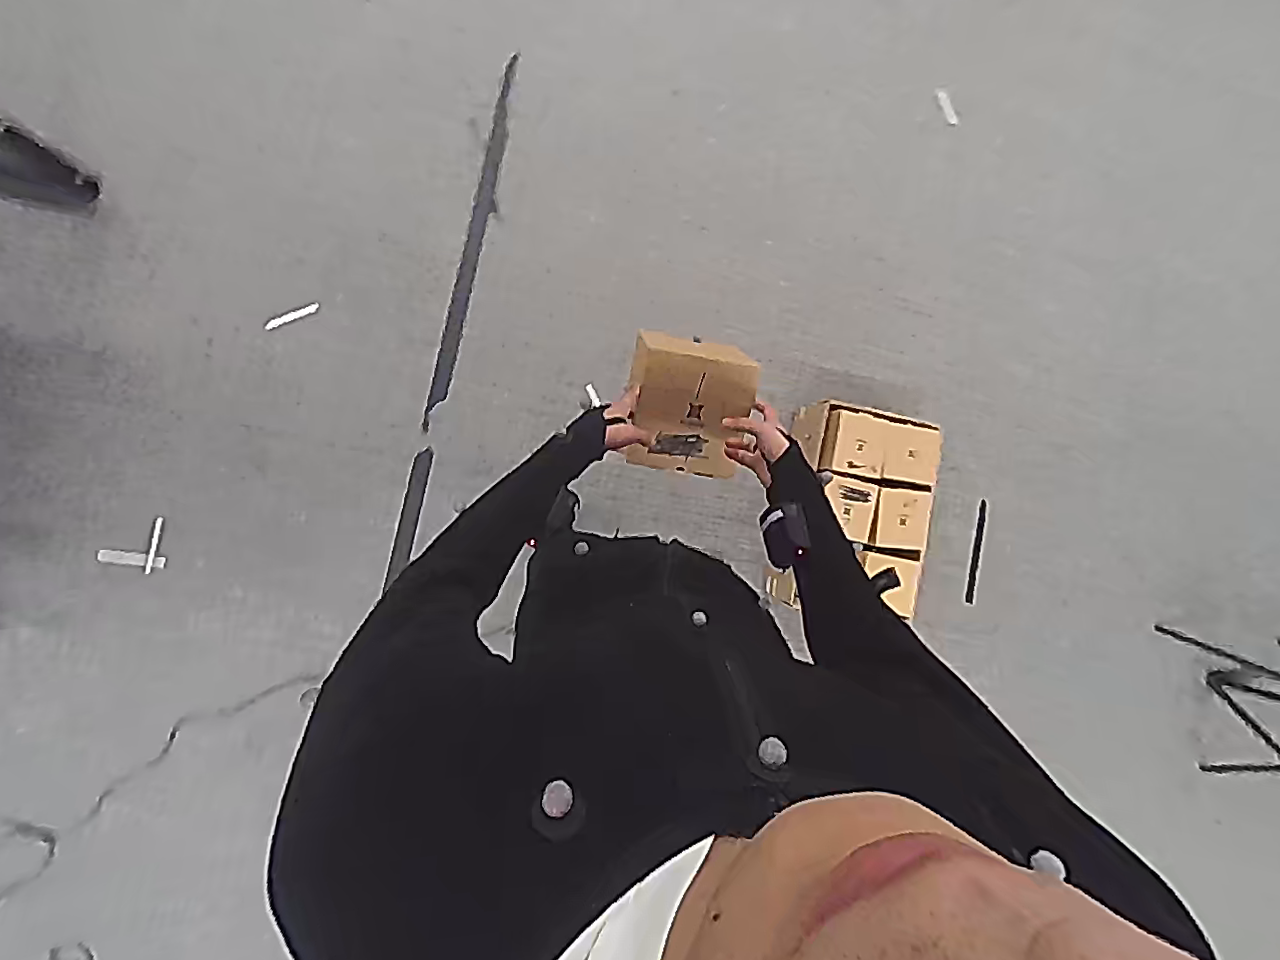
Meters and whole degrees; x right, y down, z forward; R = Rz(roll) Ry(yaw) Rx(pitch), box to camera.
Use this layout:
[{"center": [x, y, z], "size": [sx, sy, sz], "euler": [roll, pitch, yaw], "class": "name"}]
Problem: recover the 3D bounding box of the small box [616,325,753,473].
[{"center": [0.057, -0.131, 0.845], "size": [0.168, 0.176, 0.179], "euler": [7, 112, -9], "class": "small box"}]
